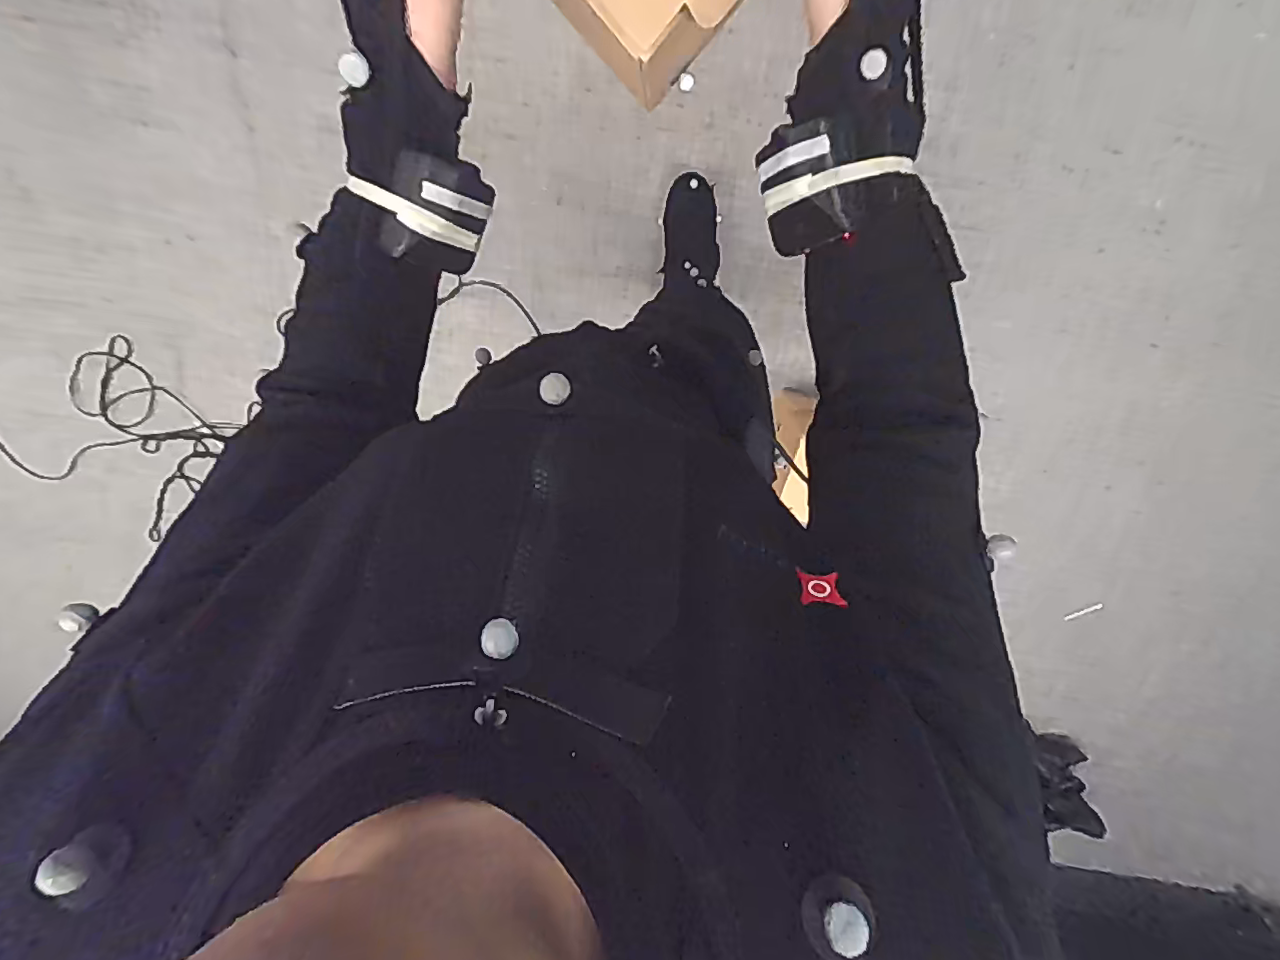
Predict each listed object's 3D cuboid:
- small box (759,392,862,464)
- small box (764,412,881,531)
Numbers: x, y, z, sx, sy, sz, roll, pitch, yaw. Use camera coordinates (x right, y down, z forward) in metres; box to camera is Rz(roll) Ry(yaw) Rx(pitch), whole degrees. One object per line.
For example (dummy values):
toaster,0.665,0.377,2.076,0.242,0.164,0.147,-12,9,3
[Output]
small box,0.389,-0.097,1.272,0.168,0.176,0.179,12,112,-2
small box,0.367,-0.023,1.127,0.168,0.176,0.179,13,113,-2
